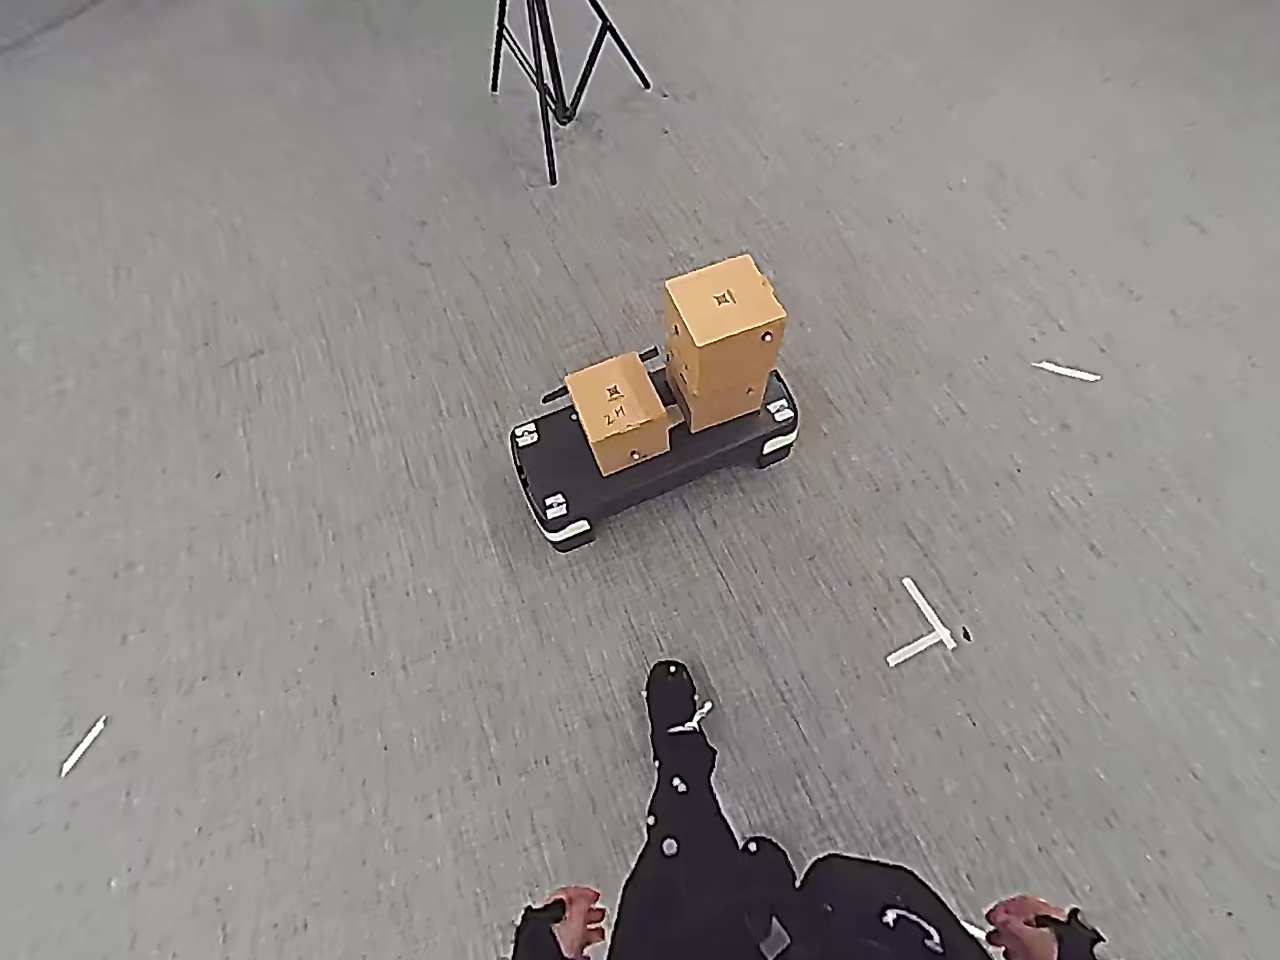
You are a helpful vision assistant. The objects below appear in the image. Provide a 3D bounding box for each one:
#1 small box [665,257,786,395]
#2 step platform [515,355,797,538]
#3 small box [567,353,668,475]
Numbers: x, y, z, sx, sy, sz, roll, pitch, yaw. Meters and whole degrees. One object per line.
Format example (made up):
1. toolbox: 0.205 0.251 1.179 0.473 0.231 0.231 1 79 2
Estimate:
1. small box: 0.160 -0.292 1.054 0.179 0.176 0.168 -20 67 -5
2. step platform: 0.039 -0.119 1.356 0.684 0.204 0.286 -23 66 -5
3. small box: -0.044 -0.140 1.184 0.168 0.176 0.179 -22 67 -4
